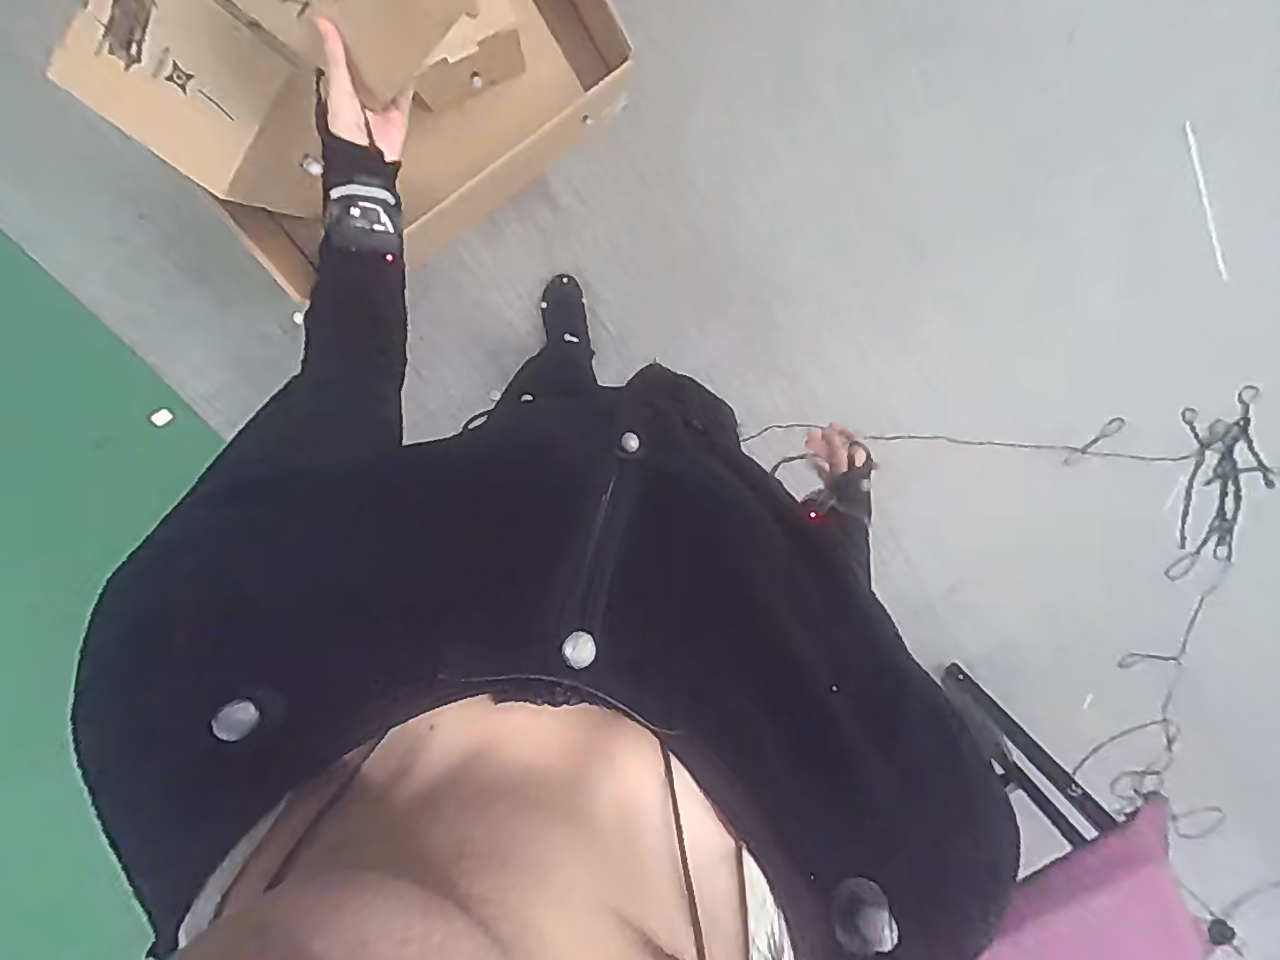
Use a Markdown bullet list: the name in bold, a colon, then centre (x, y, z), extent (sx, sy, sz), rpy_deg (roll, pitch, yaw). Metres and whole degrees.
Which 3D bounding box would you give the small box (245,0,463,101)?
- **small box**: centre (-0.225, -0.462, 0.416), extent (0.168, 0.179, 0.176), rpy_deg (25, 63, -47)

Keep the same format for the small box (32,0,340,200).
- **small box**: centre (-0.486, -0.445, 0.611), extent (0.179, 0.176, 0.168), rpy_deg (36, 103, -20)

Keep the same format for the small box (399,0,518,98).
- **small box**: centre (-0.279, -0.657, 0.738), extent (0.168, 0.176, 0.179), rpy_deg (-24, 113, 1)
